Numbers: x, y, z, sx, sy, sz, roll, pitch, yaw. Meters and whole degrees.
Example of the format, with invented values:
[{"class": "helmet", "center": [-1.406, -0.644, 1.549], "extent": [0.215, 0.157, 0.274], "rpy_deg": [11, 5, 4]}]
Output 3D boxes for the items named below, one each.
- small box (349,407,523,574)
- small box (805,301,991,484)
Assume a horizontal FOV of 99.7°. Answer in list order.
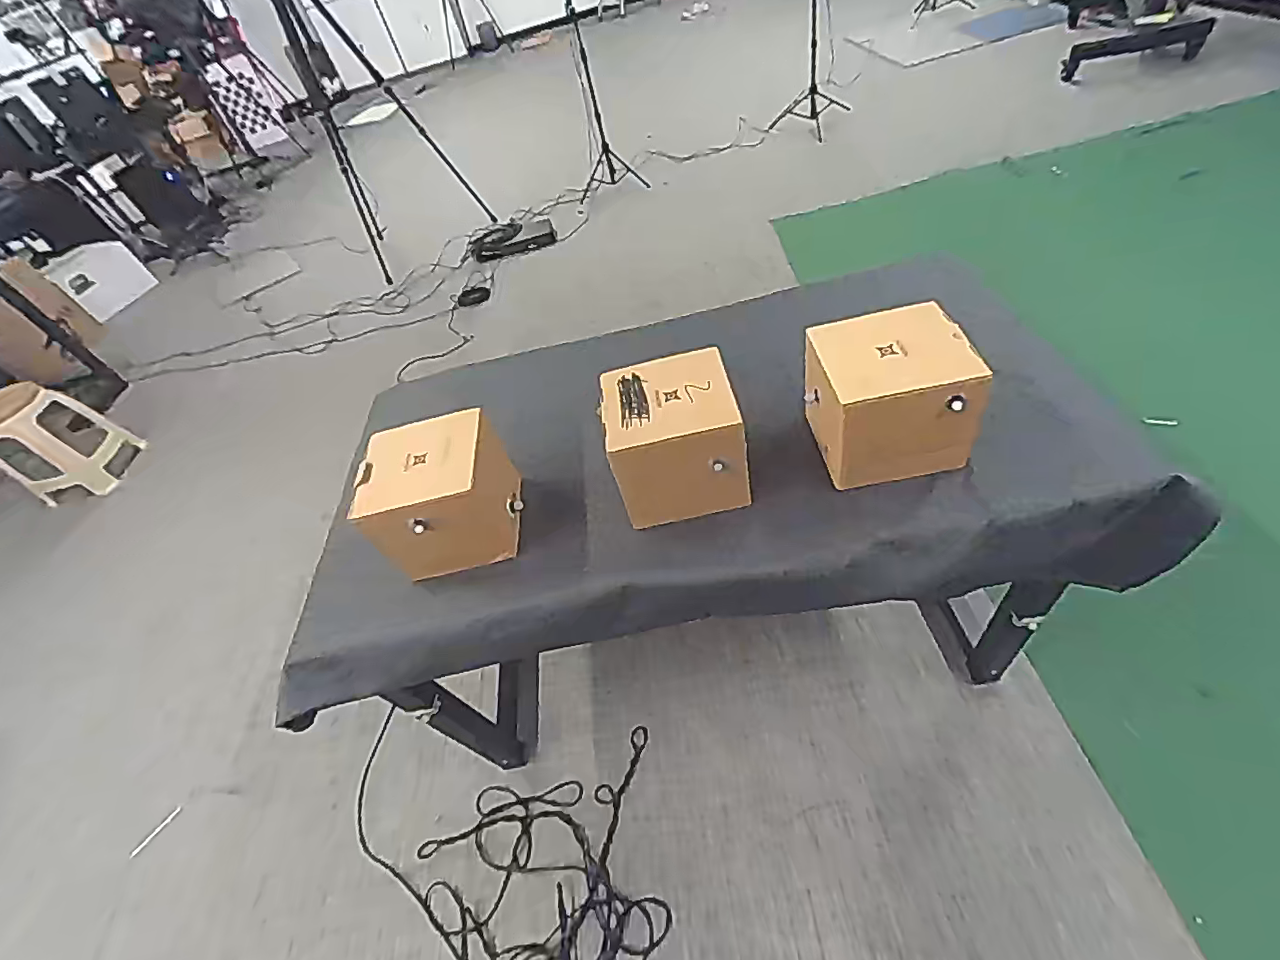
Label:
[{"class": "small box", "center": [-0.290, 0.022, 0.809], "extent": [0.179, 0.176, 0.168], "rpy_deg": [-13, 49, 4]}, {"class": "small box", "center": [0.334, -0.113, 0.742], "extent": [0.179, 0.176, 0.168], "rpy_deg": [-11, 48, 6]}]
